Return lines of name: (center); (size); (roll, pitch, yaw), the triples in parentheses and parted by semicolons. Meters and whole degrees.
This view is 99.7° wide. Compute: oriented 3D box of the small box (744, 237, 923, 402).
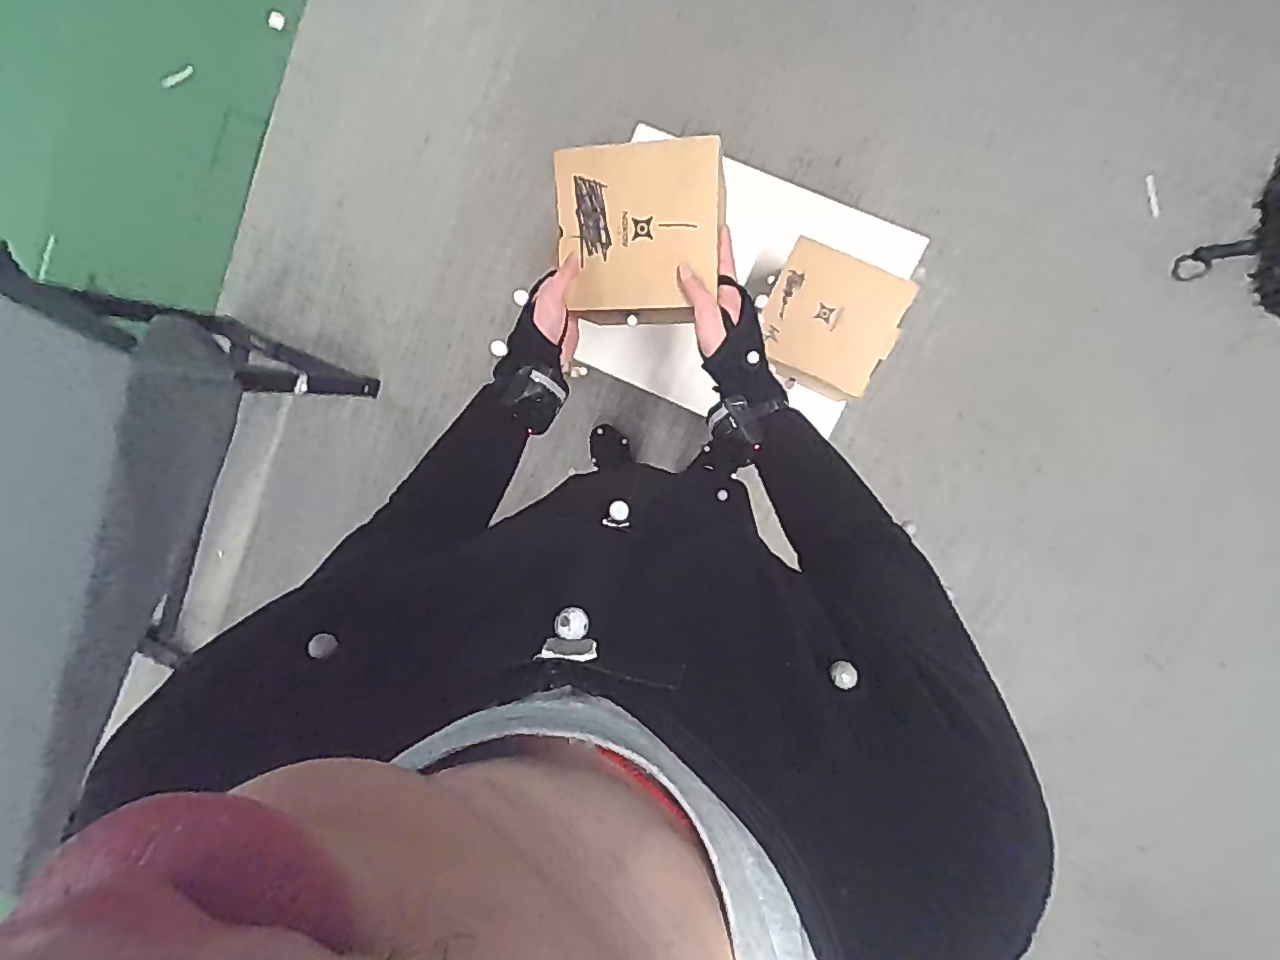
small box: (0.271, -0.226, 0.804); (0.179, 0.176, 0.168); (25, 99, 3)

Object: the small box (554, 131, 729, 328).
small box: (0.012, -0.269, 0.623); (0.179, 0.176, 0.168); (0, 100, 8)
